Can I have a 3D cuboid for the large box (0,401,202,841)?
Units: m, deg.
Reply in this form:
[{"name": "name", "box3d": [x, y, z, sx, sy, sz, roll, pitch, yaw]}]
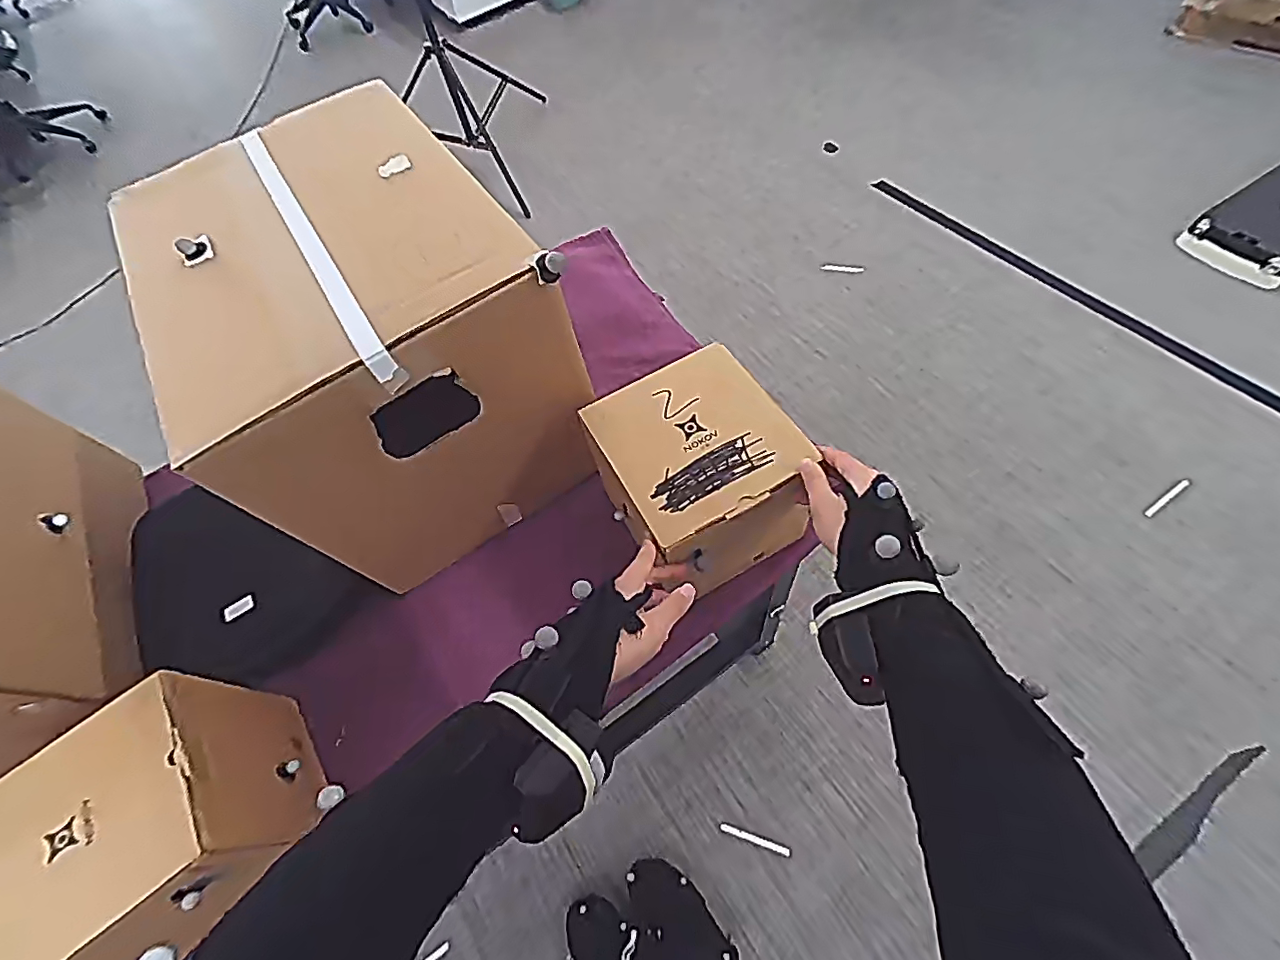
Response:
[{"name": "large box", "box3d": [-0.747, 0.137, 0.542, 0.320, 0.320, 0.408, -34, 64, -11]}]
